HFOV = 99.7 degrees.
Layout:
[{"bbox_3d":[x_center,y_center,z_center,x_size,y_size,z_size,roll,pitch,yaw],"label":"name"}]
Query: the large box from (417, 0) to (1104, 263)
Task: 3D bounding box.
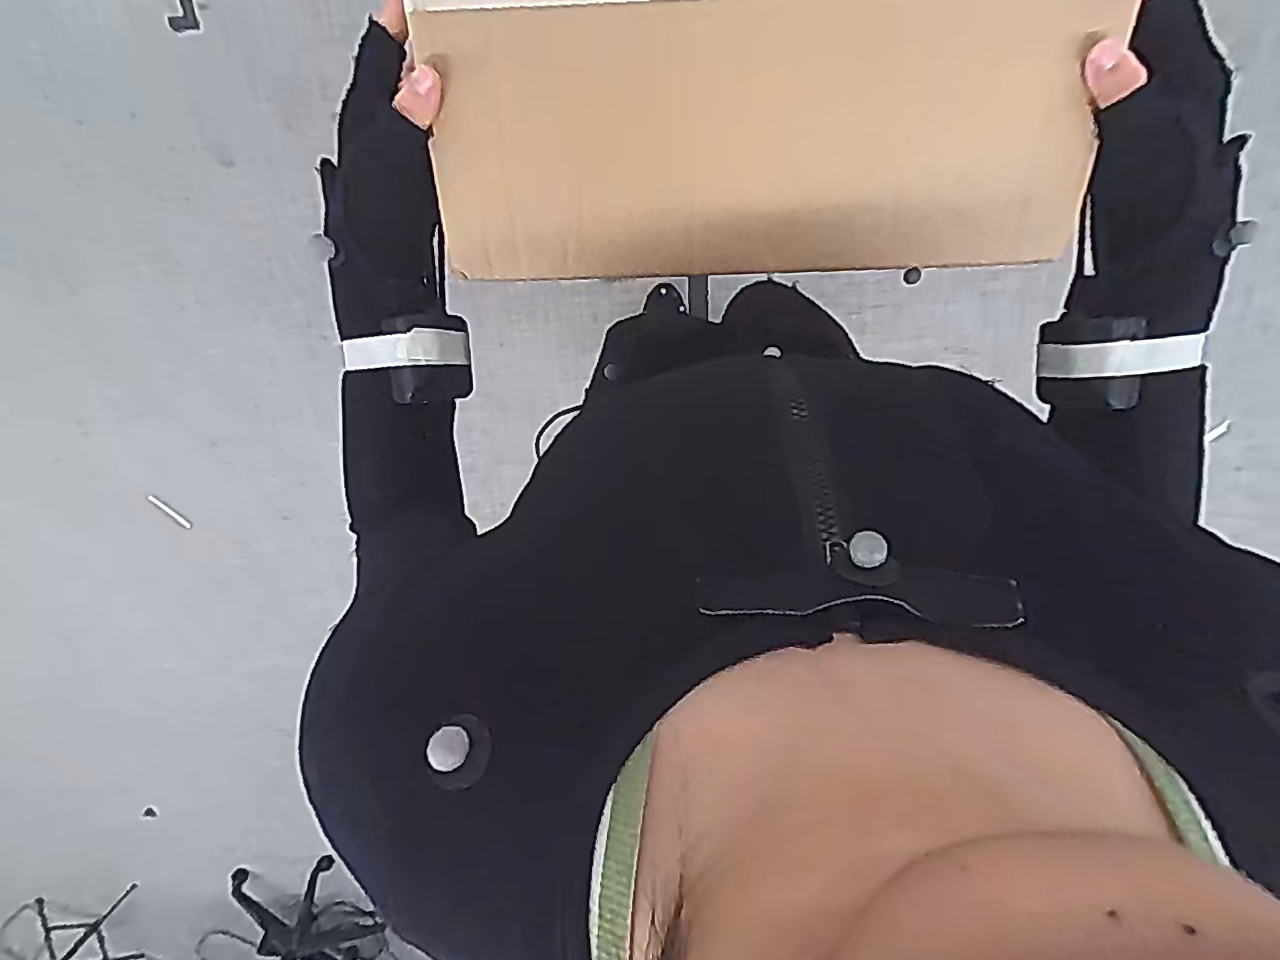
[{"bbox_3d":[0.073,-0.362,0.435,0.408,0.320,0.320,0,116,3],"label":"large box"}]
